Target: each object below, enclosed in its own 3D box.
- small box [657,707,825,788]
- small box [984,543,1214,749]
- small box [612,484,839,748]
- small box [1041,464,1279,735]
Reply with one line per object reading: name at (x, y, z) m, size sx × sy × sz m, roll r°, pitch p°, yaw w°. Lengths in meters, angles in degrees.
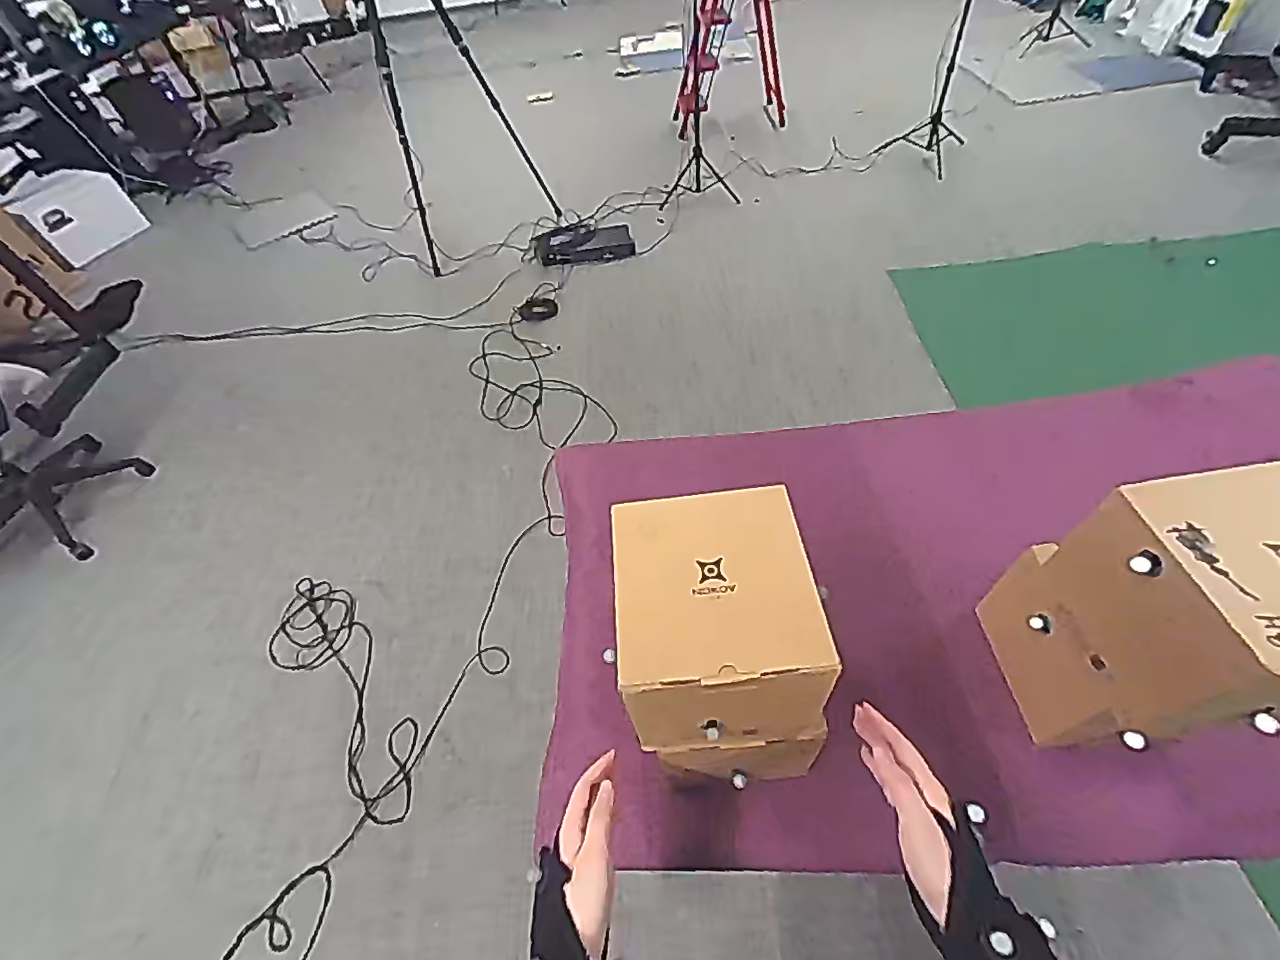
small box at (0.097, 0.235, 0.623) m, size 0.168 × 0.176 × 0.179 m, roll -7°, pitch 50°, yaw 2°
small box at (0.530, 0.185, 0.608) m, size 0.168 × 0.176 × 0.179 m, roll -5°, pitch 51°, yaw 4°
small box at (0.065, 0.129, 0.504) m, size 0.168 × 0.176 × 0.179 m, roll -7°, pitch 49°, yaw 2°
small box at (0.506, 0.105, 0.464) m, size 0.179 × 0.176 × 0.168 m, roll -8°, pitch 50°, yaw 2°
